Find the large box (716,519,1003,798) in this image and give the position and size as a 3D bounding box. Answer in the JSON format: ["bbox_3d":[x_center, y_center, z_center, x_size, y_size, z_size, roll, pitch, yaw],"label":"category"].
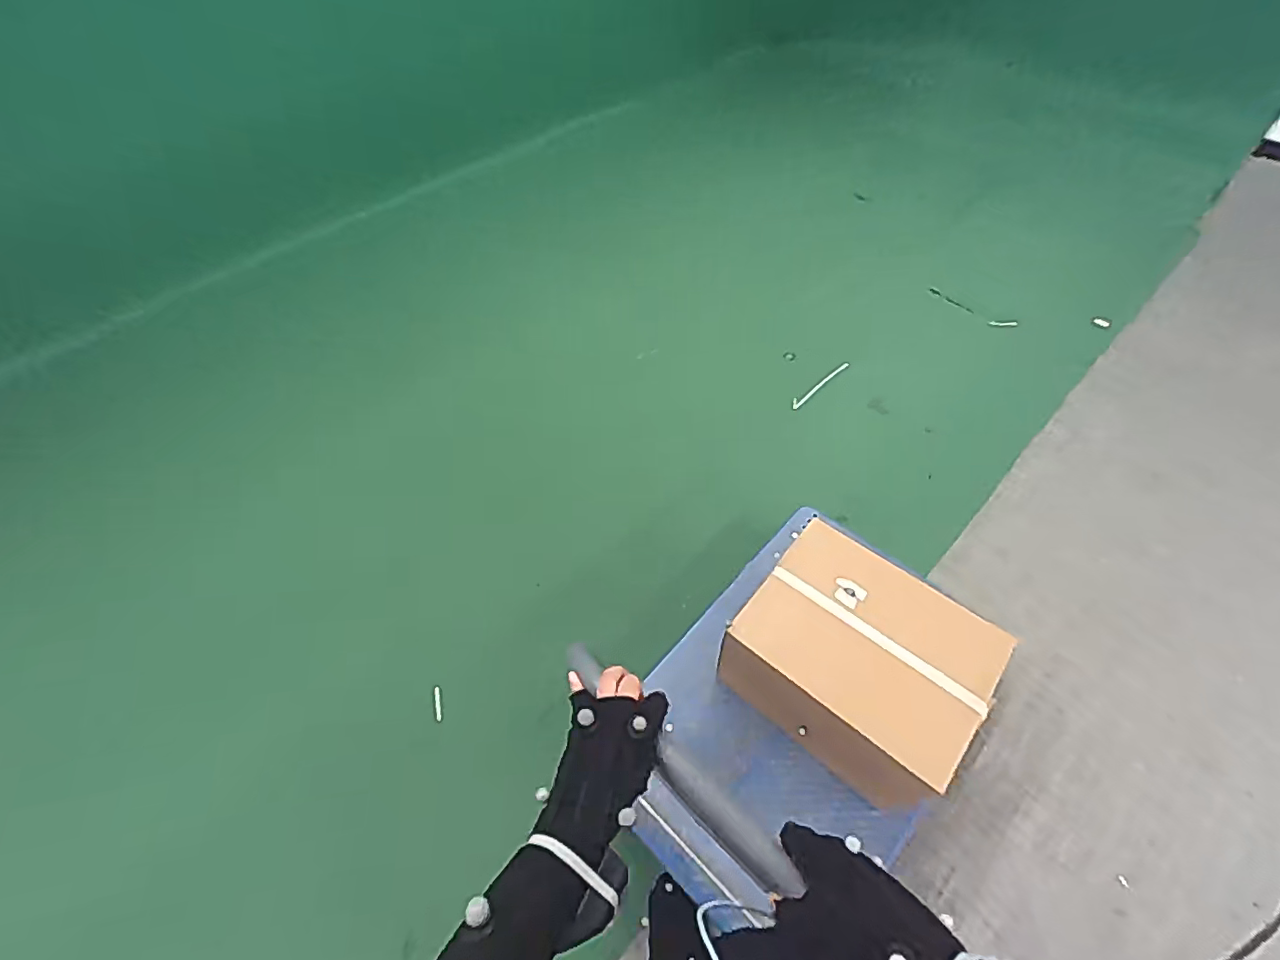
[{"bbox_3d":[0.409,0.359,1.096,0.408,0.320,0.320,34,63,25],"label":"large box"}]
